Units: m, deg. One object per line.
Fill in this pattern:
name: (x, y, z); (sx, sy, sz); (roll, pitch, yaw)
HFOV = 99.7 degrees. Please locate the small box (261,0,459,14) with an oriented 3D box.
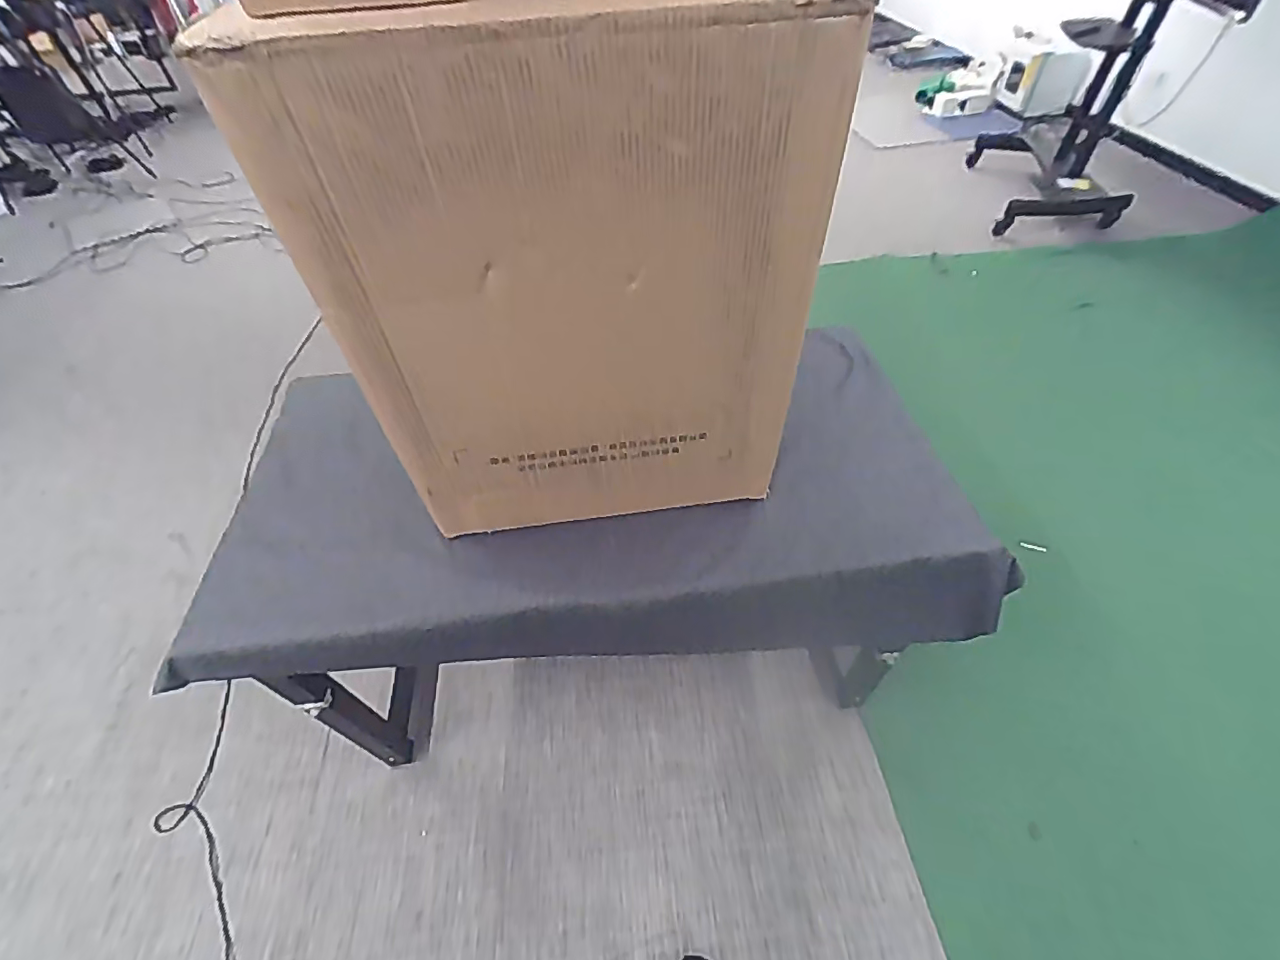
small box: (-0.224, -0.472, 0.403); (0.168, 0.176, 0.179); (-7, 52, -3)
